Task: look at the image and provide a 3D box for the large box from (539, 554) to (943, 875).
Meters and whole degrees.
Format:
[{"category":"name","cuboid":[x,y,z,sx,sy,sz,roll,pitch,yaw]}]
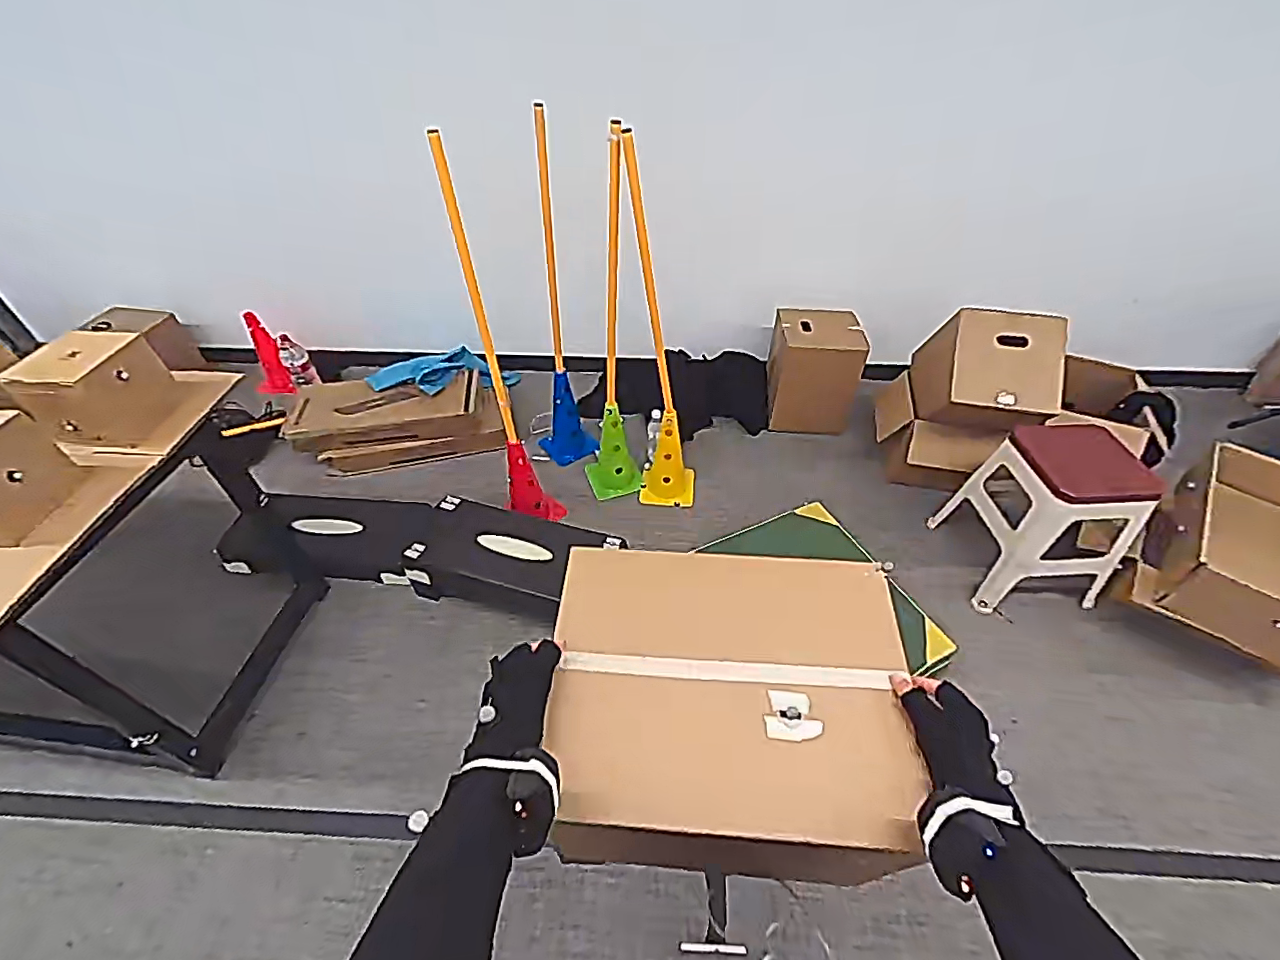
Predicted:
[{"category":"large box","cuboid":[0.107,0.320,0.735,0.408,0.320,0.320,3,50,4]}]
